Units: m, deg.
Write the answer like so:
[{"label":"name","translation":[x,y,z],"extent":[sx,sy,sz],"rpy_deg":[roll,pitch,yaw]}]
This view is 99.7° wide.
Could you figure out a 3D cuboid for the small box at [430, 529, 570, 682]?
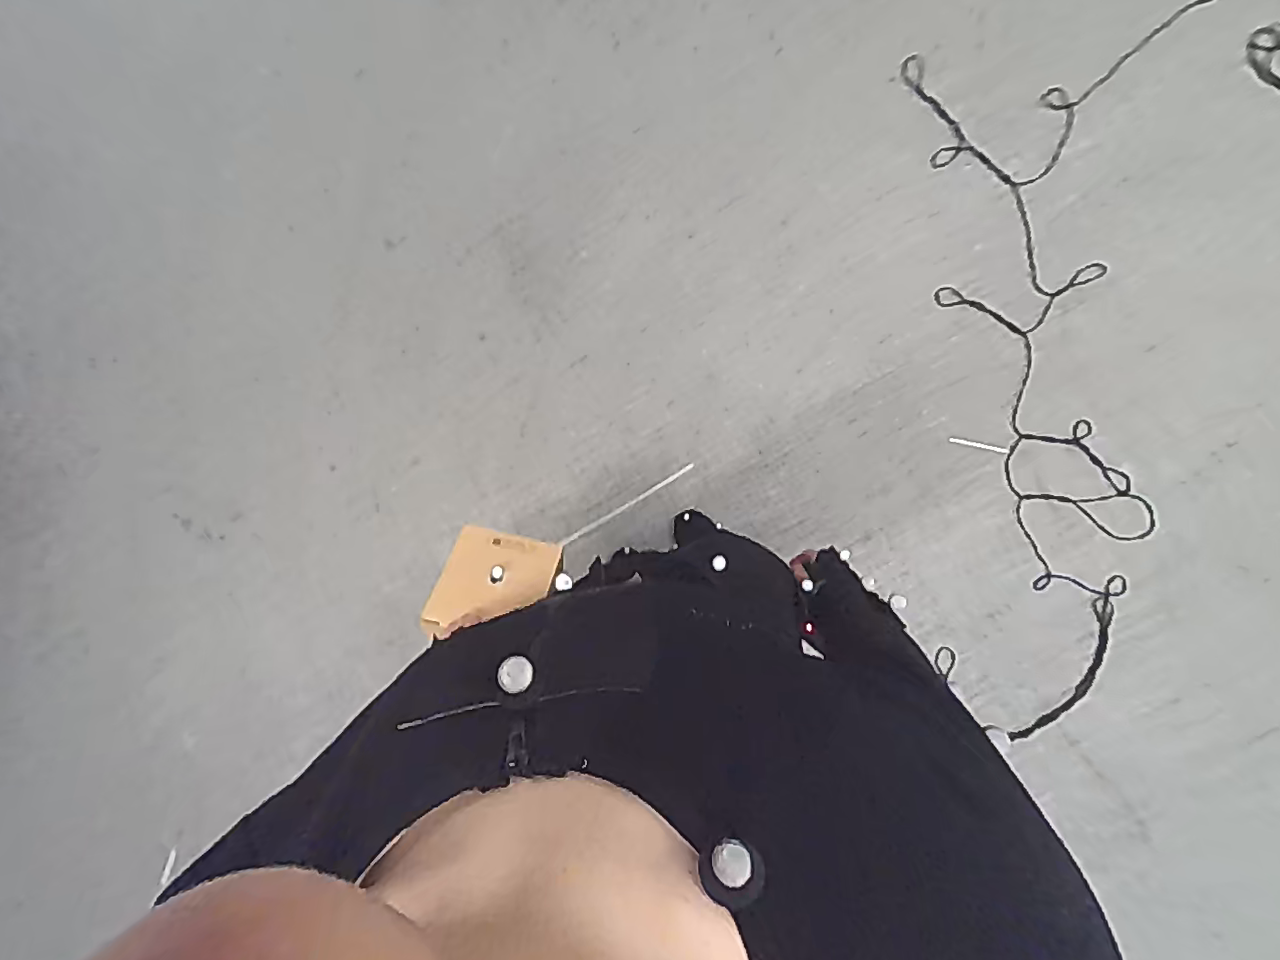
[{"label":"small box","translation":[-0.216,0.203,0.882],"extent":[0.168,0.179,0.176],"rpy_deg":[12,50,3]}]
